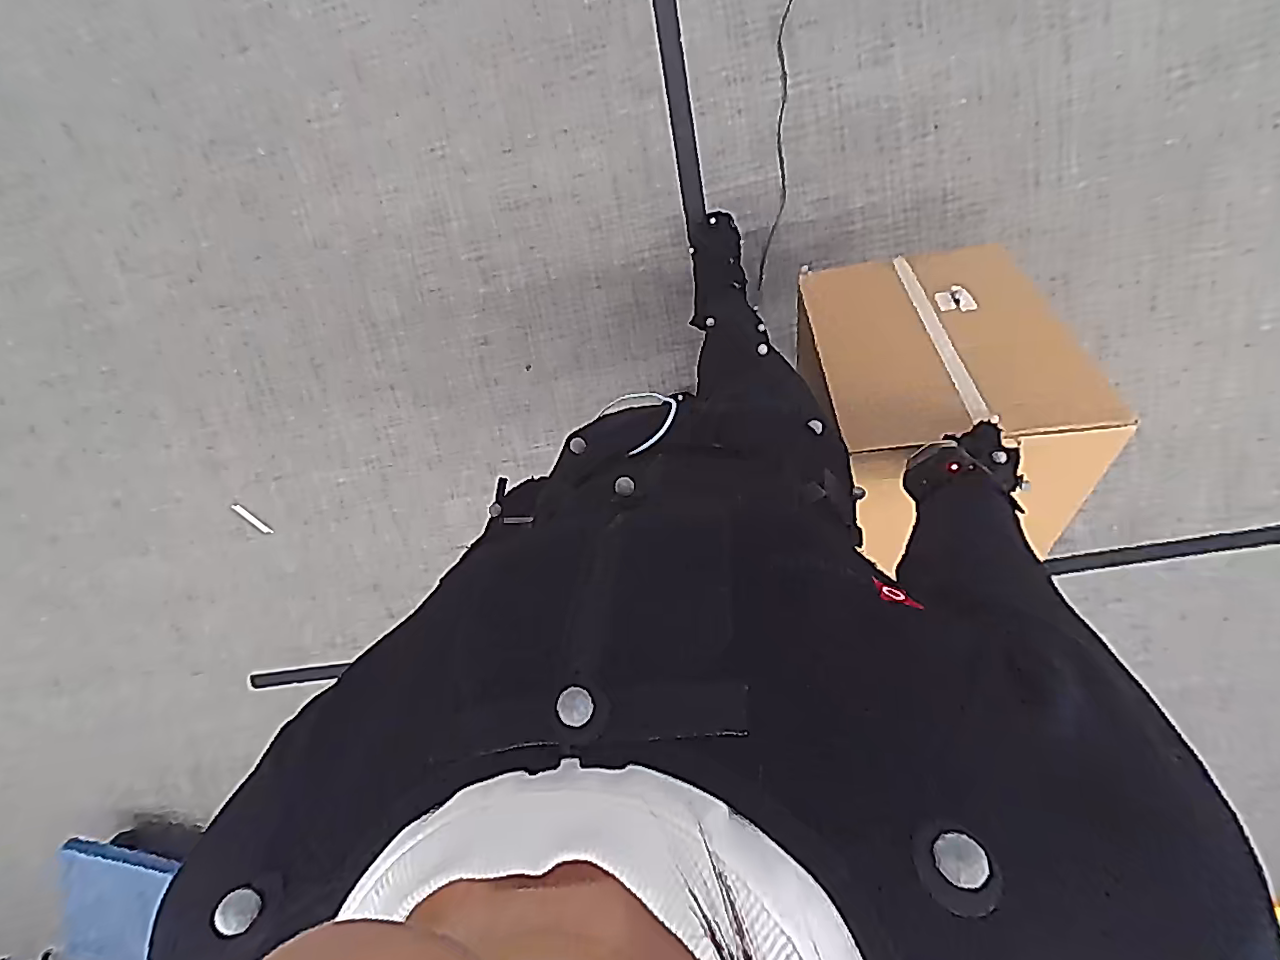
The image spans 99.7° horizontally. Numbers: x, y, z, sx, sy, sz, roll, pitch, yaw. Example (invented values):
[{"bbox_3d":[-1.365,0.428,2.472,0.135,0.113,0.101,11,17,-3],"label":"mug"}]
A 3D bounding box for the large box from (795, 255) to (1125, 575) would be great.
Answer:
[{"bbox_3d":[0.442,-0.102,0.879,0.320,0.408,0.320,-5,139,8],"label":"large box"}]
